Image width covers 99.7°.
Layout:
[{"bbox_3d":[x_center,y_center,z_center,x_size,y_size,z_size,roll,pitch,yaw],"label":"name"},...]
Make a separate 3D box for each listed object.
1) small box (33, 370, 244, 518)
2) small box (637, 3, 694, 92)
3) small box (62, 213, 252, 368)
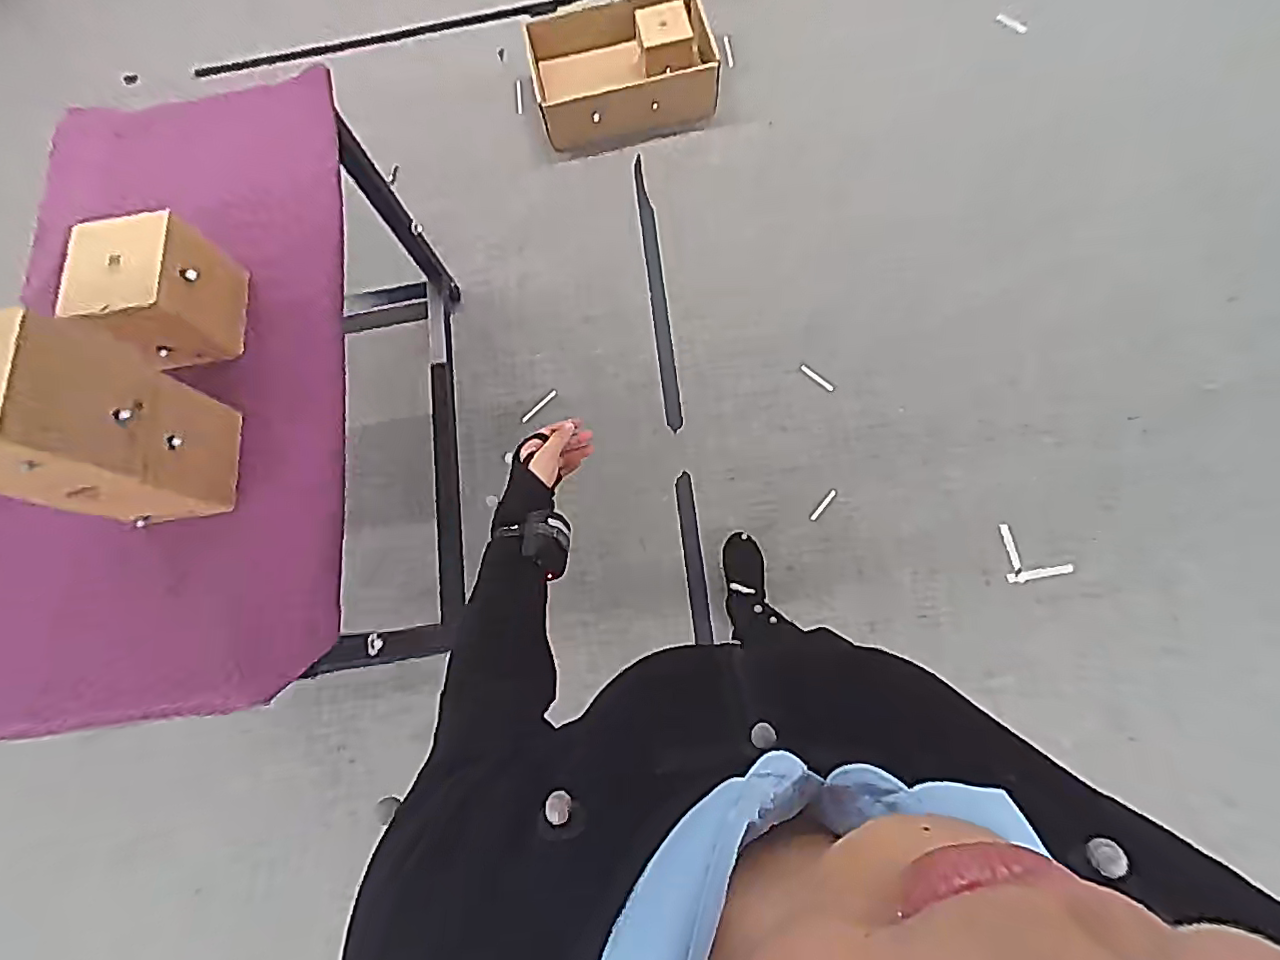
[{"bbox_3d":[-0.757,-0.044,0.838,0.168,0.176,0.179,-8,73,2],"label":"small box"},{"bbox_3d":[0.091,-1.484,1.871,0.168,0.176,0.179,-11,73,1],"label":"small box"},{"bbox_3d":[-0.802,-0.314,0.919,0.168,0.176,0.179,-8,75,3],"label":"small box"}]
